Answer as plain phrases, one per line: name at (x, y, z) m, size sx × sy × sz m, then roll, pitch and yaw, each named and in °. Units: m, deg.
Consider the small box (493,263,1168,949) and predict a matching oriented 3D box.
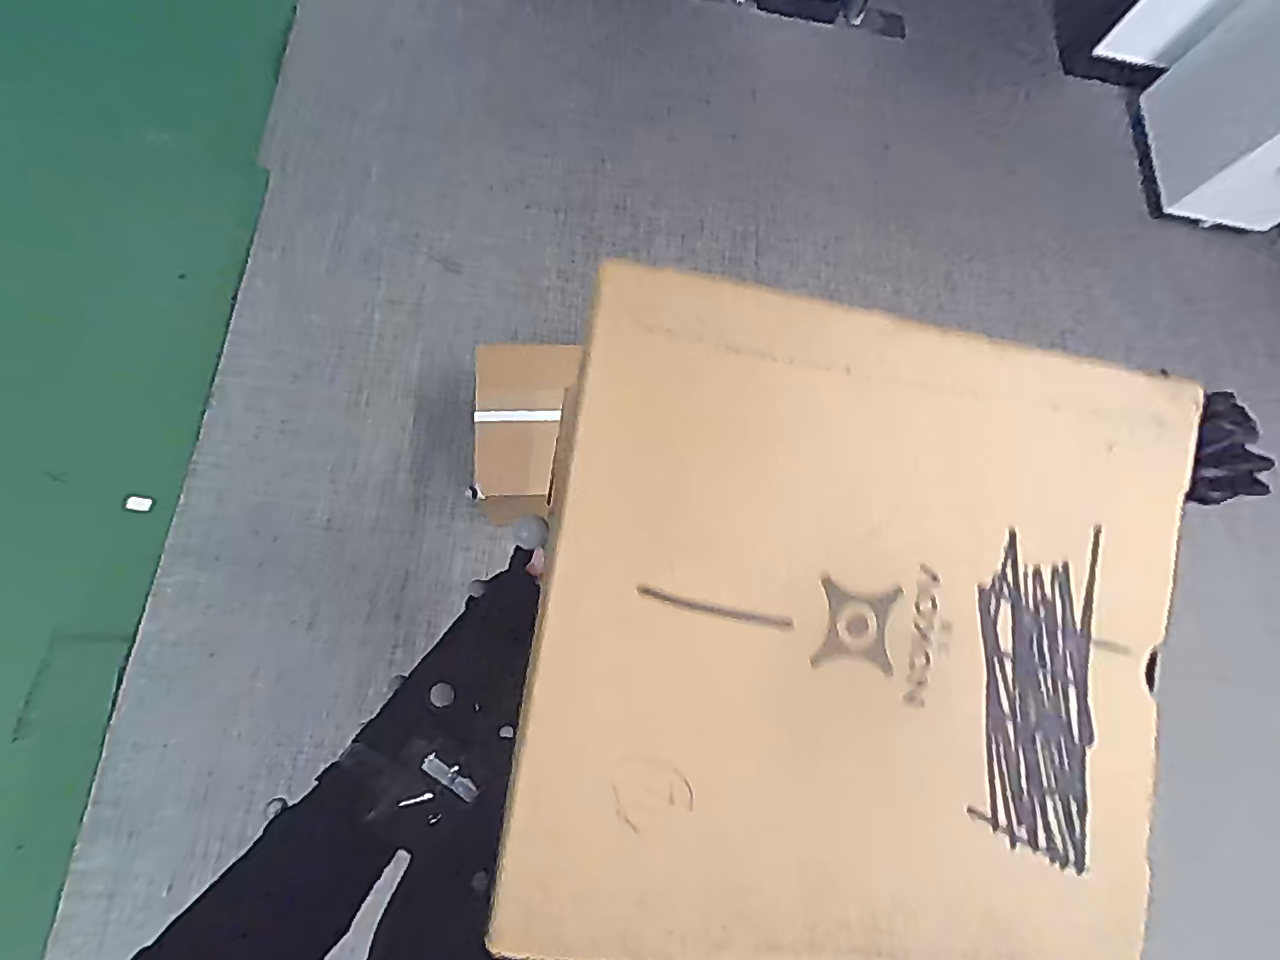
small box at (0.050, 0.041, 0.226) m, size 0.179 × 0.176 × 0.168 m, roll 10°, pitch 86°, yaw -8°
